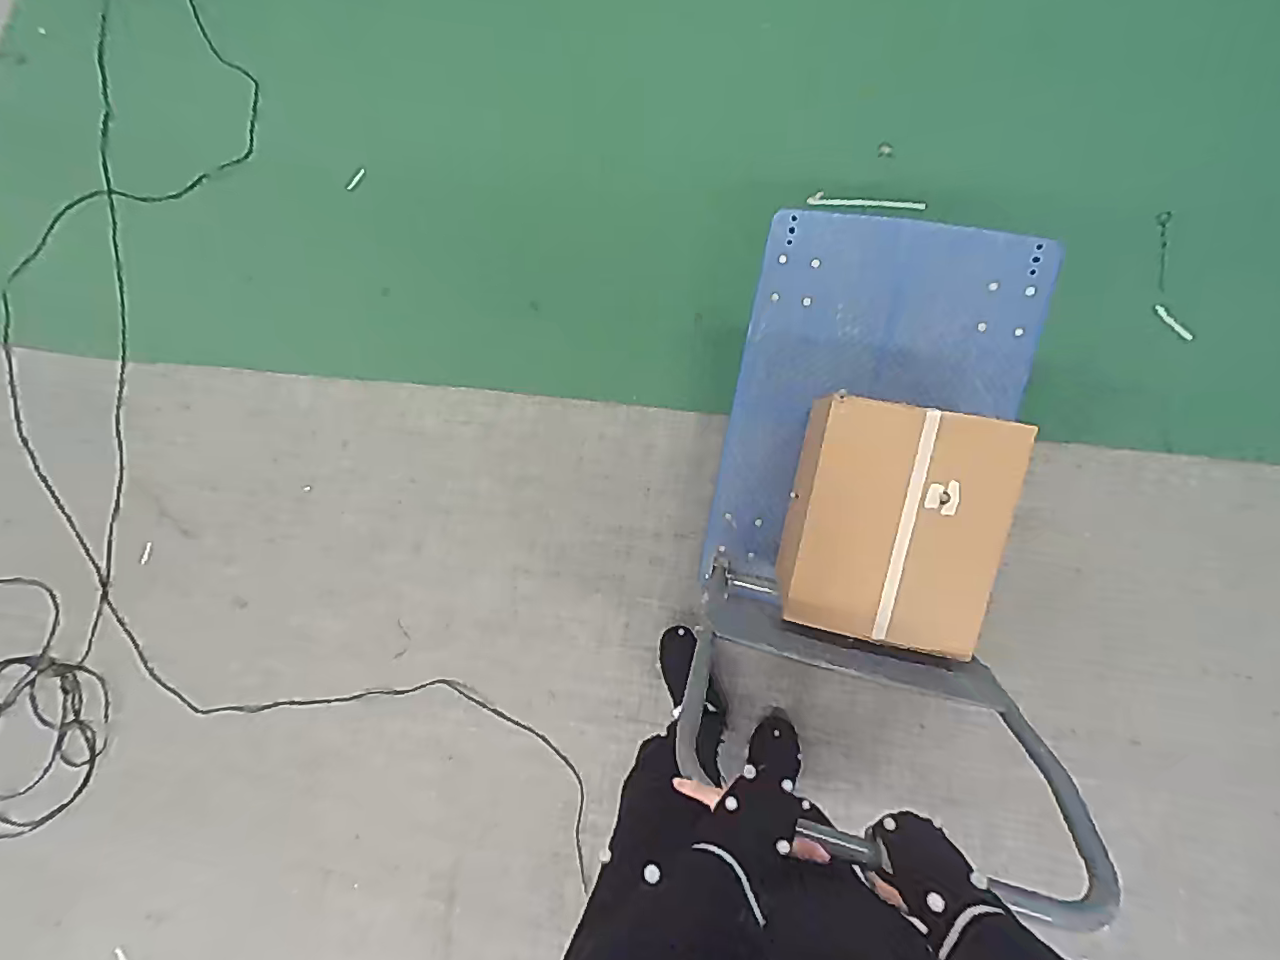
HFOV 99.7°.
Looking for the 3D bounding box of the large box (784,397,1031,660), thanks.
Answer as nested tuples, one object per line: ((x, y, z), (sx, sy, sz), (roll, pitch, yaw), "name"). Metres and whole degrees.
((0.469, 0.068, 1.043), (0.320, 0.320, 0.408), (11, 98, 10), "large box")
